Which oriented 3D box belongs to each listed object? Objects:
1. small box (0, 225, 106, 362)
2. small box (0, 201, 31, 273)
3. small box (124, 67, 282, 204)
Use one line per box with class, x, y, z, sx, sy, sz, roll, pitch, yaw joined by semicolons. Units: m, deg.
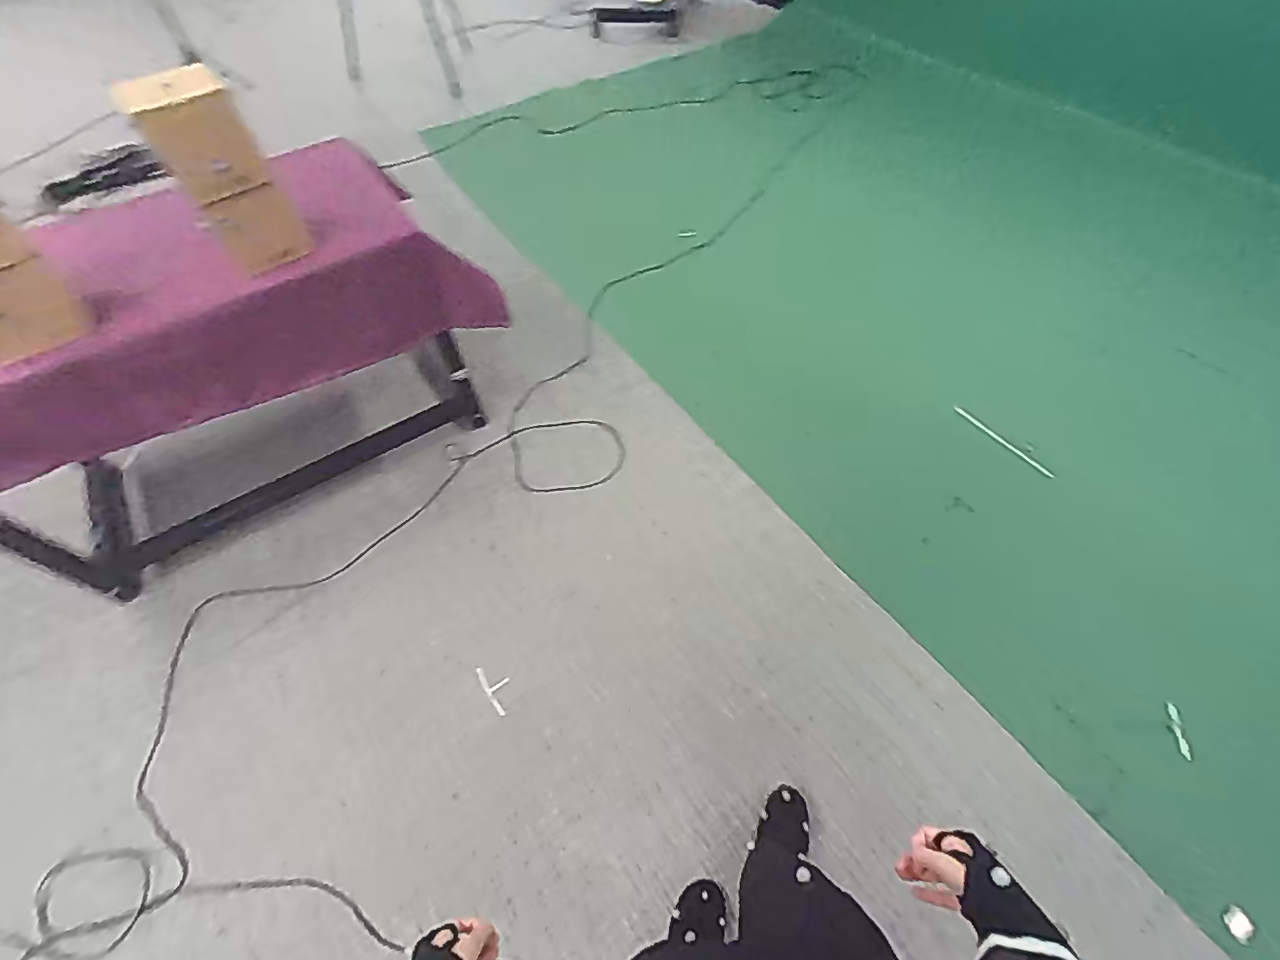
small box;-1.243;-0.368;1.083;0.179;0.176;0.168;-33;61;-18
small box;-1.247;-0.456;0.946;0.179;0.176;0.168;-32;60;-19
small box;-0.867;-0.688;1.083;0.168;0.176;0.179;-34;60;-18
